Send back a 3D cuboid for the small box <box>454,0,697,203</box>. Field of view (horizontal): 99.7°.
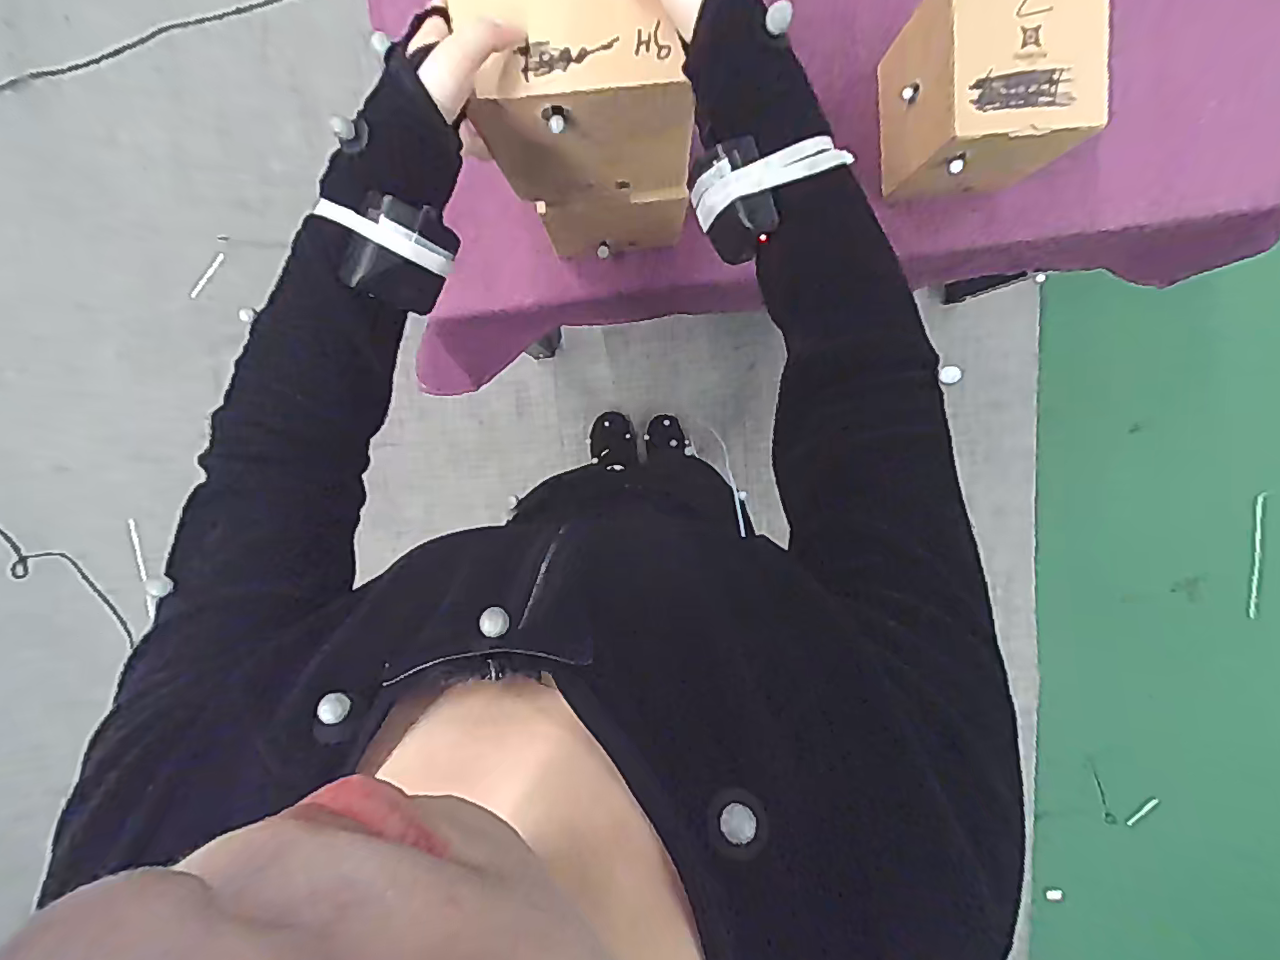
[{"bbox_3d":[-0.044,-0.357,0.443,0.168,0.176,0.179,-4,95,4],"label":"small box"}]

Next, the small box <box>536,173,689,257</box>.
[{"bbox_3d":[-0.038,-0.386,0.645,0.168,0.176,0.179,-6,97,0],"label":"small box"}]
